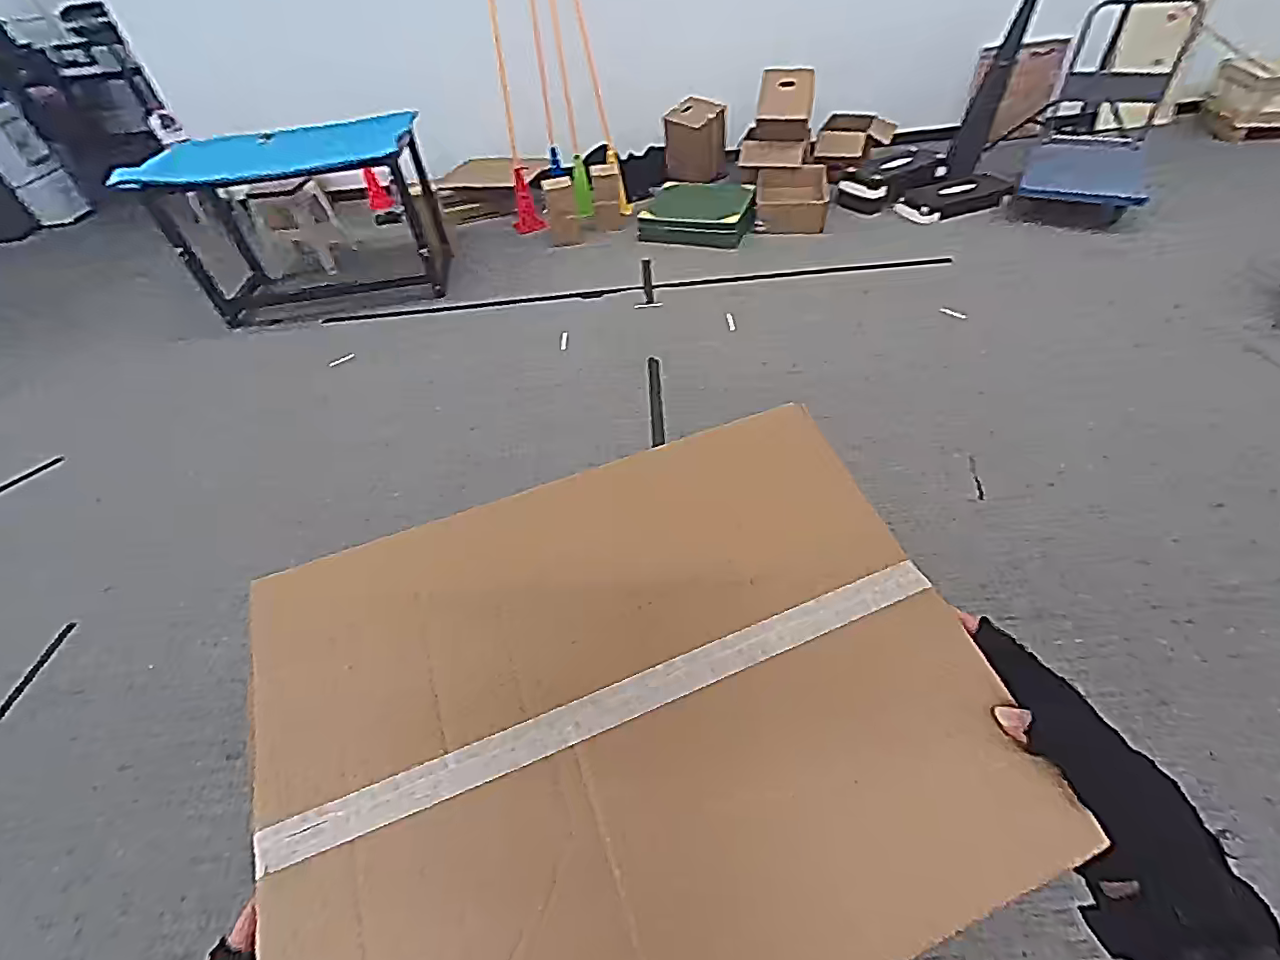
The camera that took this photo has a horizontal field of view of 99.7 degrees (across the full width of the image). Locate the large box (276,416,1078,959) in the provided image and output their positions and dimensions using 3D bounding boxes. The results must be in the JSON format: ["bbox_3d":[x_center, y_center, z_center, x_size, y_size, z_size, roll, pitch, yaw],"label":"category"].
[{"bbox_3d":[0.001,0.208,0.450,0.408,0.320,0.320,-19,60,-10],"label":"large box"}]
